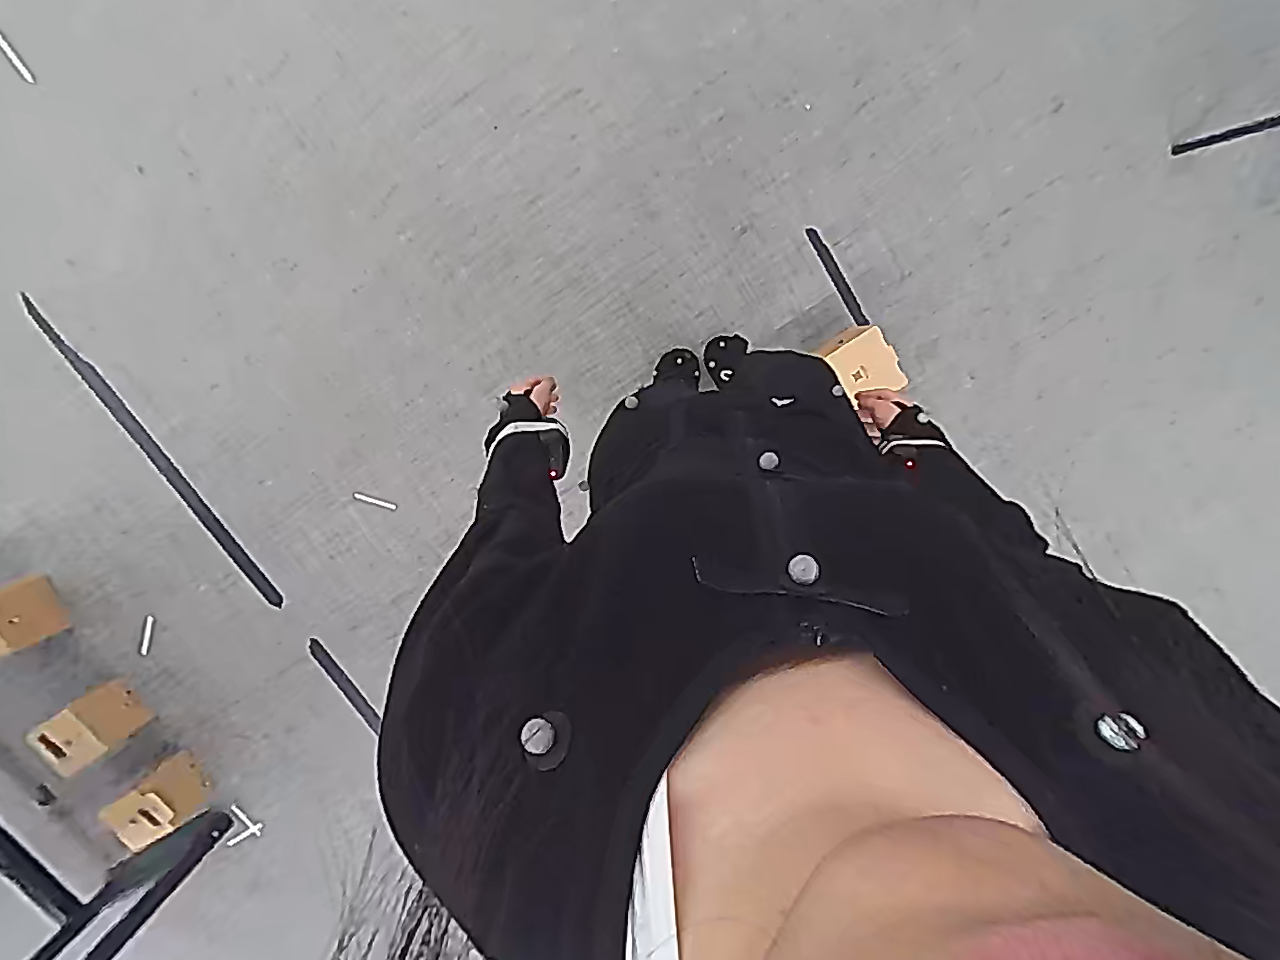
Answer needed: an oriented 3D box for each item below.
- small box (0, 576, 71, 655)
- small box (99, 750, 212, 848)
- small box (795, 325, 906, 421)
[{"bbox_3d":[-1.822,0.391,1.549,0.168,0.176,0.179,-15,104,4],"label":"small box"},{"bbox_3d":[-1.491,0.983,1.682,0.179,0.176,0.168,-30,101,9],"label":"small box"},{"bbox_3d":[0.521,-0.271,1.361,0.179,0.176,0.168,-33,101,7],"label":"small box"}]
